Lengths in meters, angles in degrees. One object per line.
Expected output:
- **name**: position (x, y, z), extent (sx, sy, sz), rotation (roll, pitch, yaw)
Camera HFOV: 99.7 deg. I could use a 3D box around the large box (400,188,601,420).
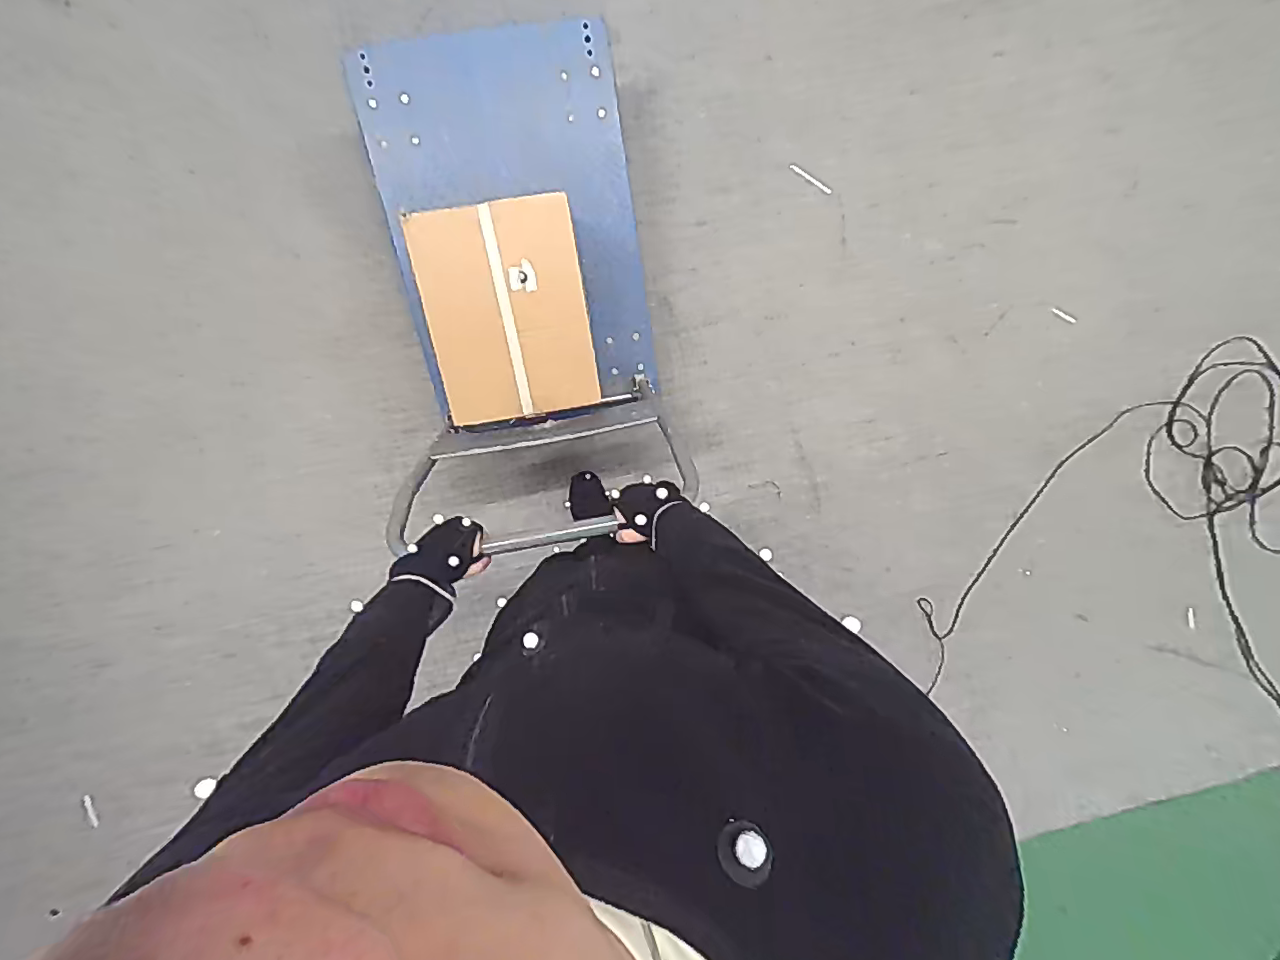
- **large box**: position (-0.276, -0.380, 1.203), extent (0.320, 0.320, 0.408), rotation (-10, 109, -3)
